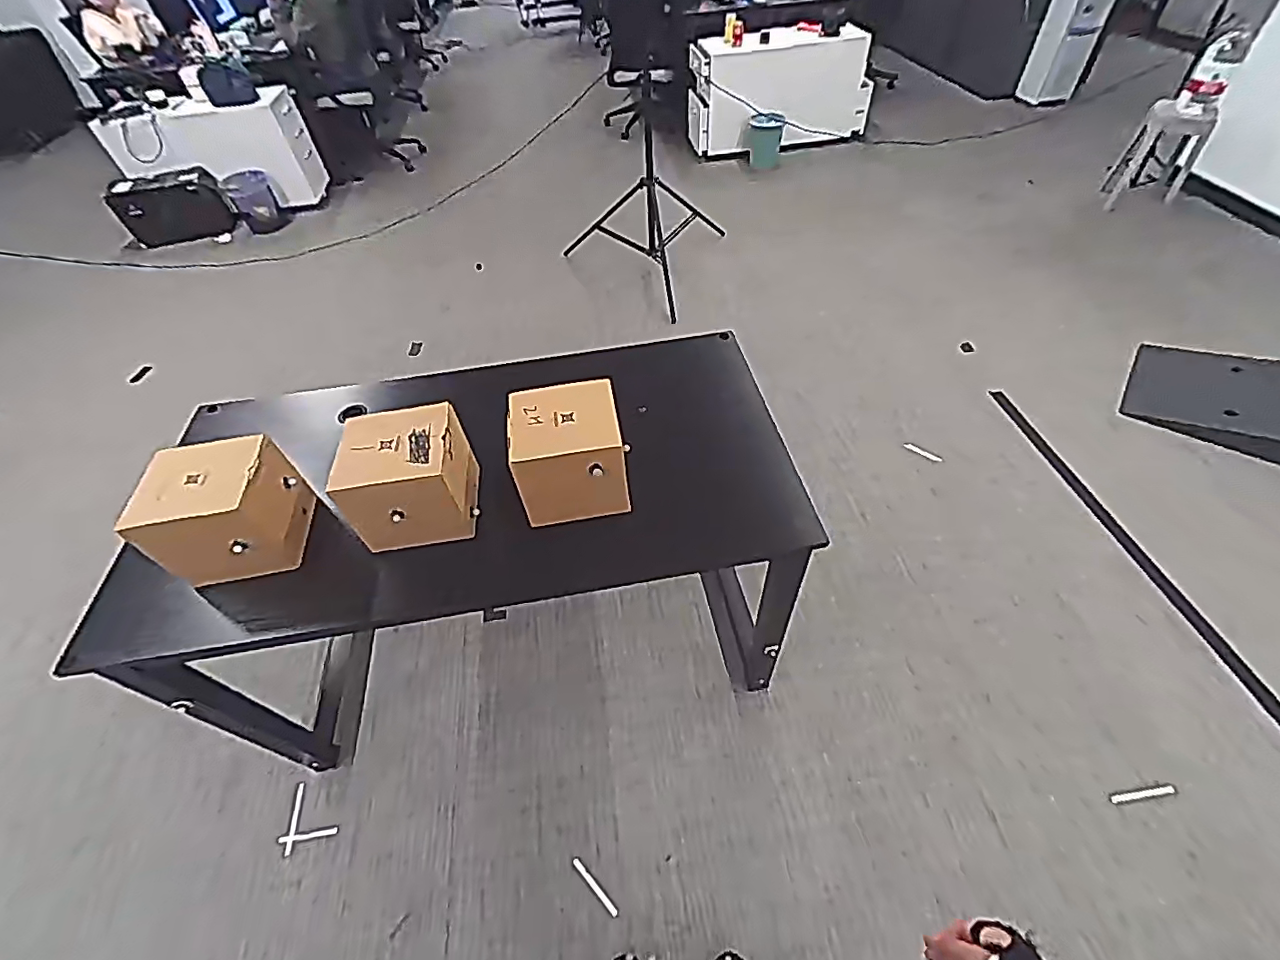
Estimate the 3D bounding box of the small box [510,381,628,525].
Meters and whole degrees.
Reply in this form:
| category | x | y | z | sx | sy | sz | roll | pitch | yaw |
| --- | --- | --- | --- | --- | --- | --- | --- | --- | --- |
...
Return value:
| category | x | y | z | sx | sy | sz | roll | pitch | yaw |
| --- | --- | --- | --- | --- | --- | --- | --- | --- | --- |
| small box | -0.118 | -0.044 | 0.931 | 0.179 | 0.176 | 0.168 | -10 | 49 | -3 |

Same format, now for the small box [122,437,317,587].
| category | x | y | z | sx | sy | sz | roll | pitch | yaw |
| --- | --- | --- | --- | --- | --- | --- | --- | --- | --- |
| small box | -0.673 | 0.056 | 0.897 | 0.179 | 0.176 | 0.168 | -11 | 49 | -4 |

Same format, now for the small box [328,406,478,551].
| category | x | y | z | sx | sy | sz | roll | pitch | yaw |
| --- | --- | --- | --- | --- | --- | --- | --- | --- | --- |
| small box | -0.384 | 0.000 | 0.917 | 0.179 | 0.176 | 0.168 | -9 | 50 | -2 |
